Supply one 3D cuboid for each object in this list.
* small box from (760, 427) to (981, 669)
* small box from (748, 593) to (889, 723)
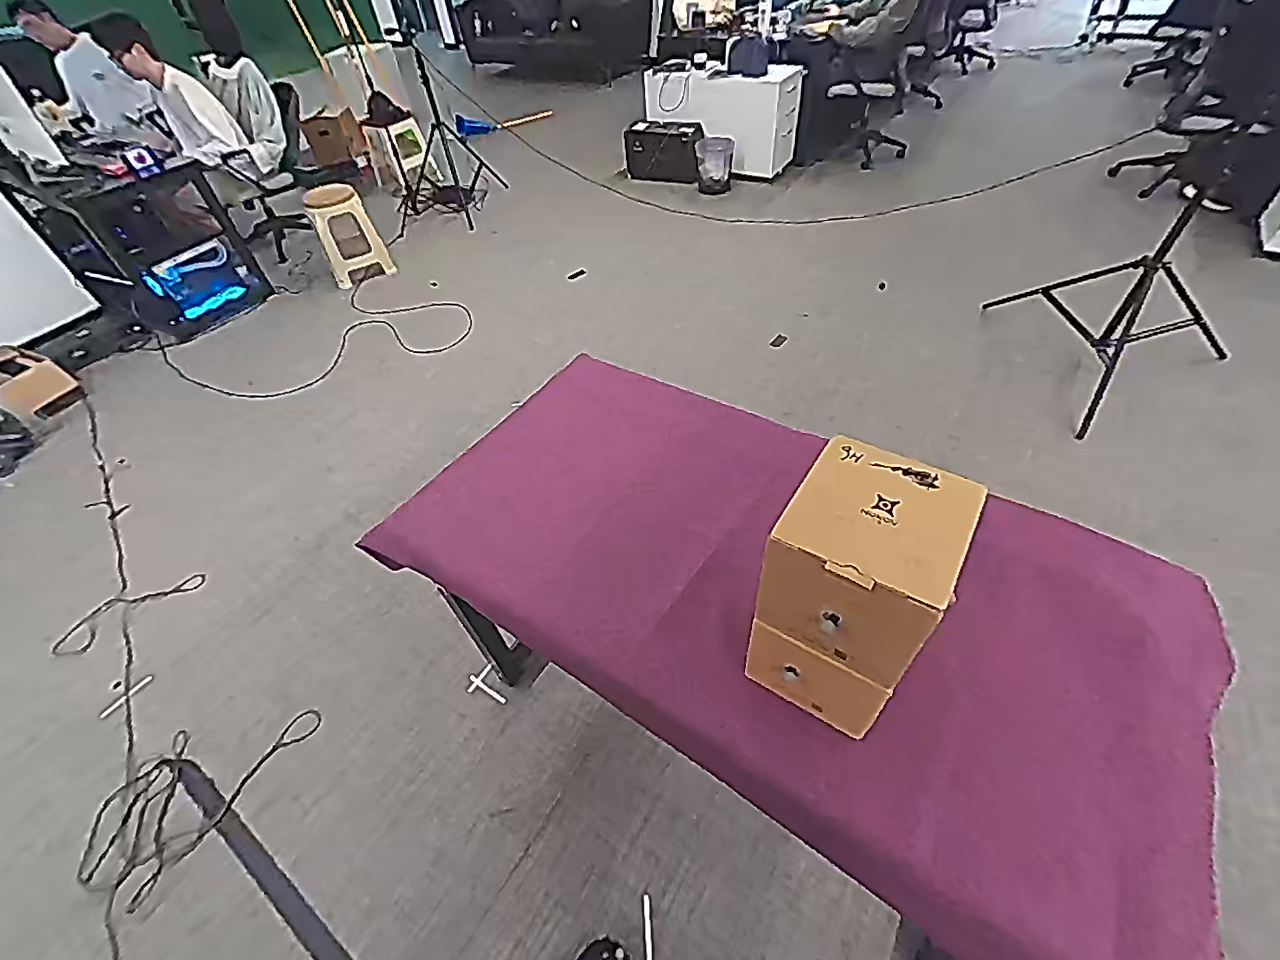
[{"bbox_3d":[0.245,0.077,0.606,0.168,0.176,0.179,24,55,25],"label":"small box"},{"bbox_3d":[0.254,0.190,0.725,0.168,0.176,0.179,23,54,24],"label":"small box"}]
